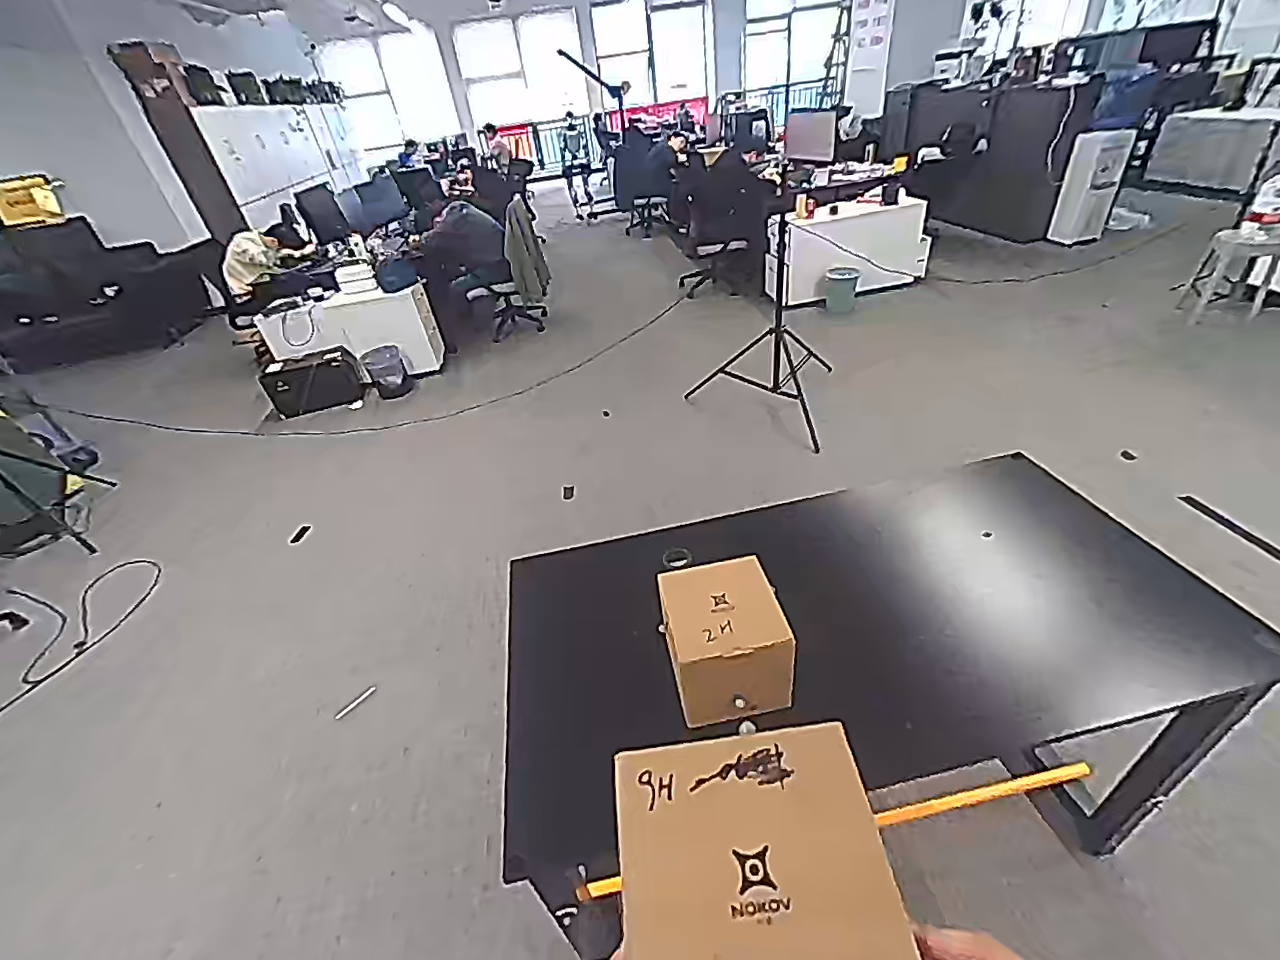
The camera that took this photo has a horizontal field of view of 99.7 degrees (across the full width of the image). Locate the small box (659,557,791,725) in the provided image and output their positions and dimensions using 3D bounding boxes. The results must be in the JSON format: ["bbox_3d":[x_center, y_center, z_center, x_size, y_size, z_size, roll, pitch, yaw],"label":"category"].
[{"bbox_3d":[0.129,0.254,0.862,0.168,0.176,0.179,-11,36,-2],"label":"small box"}]

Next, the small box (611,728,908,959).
[{"bbox_3d":[0.078,0.304,0.390,0.168,0.176,0.179,-9,48,2],"label":"small box"}]
